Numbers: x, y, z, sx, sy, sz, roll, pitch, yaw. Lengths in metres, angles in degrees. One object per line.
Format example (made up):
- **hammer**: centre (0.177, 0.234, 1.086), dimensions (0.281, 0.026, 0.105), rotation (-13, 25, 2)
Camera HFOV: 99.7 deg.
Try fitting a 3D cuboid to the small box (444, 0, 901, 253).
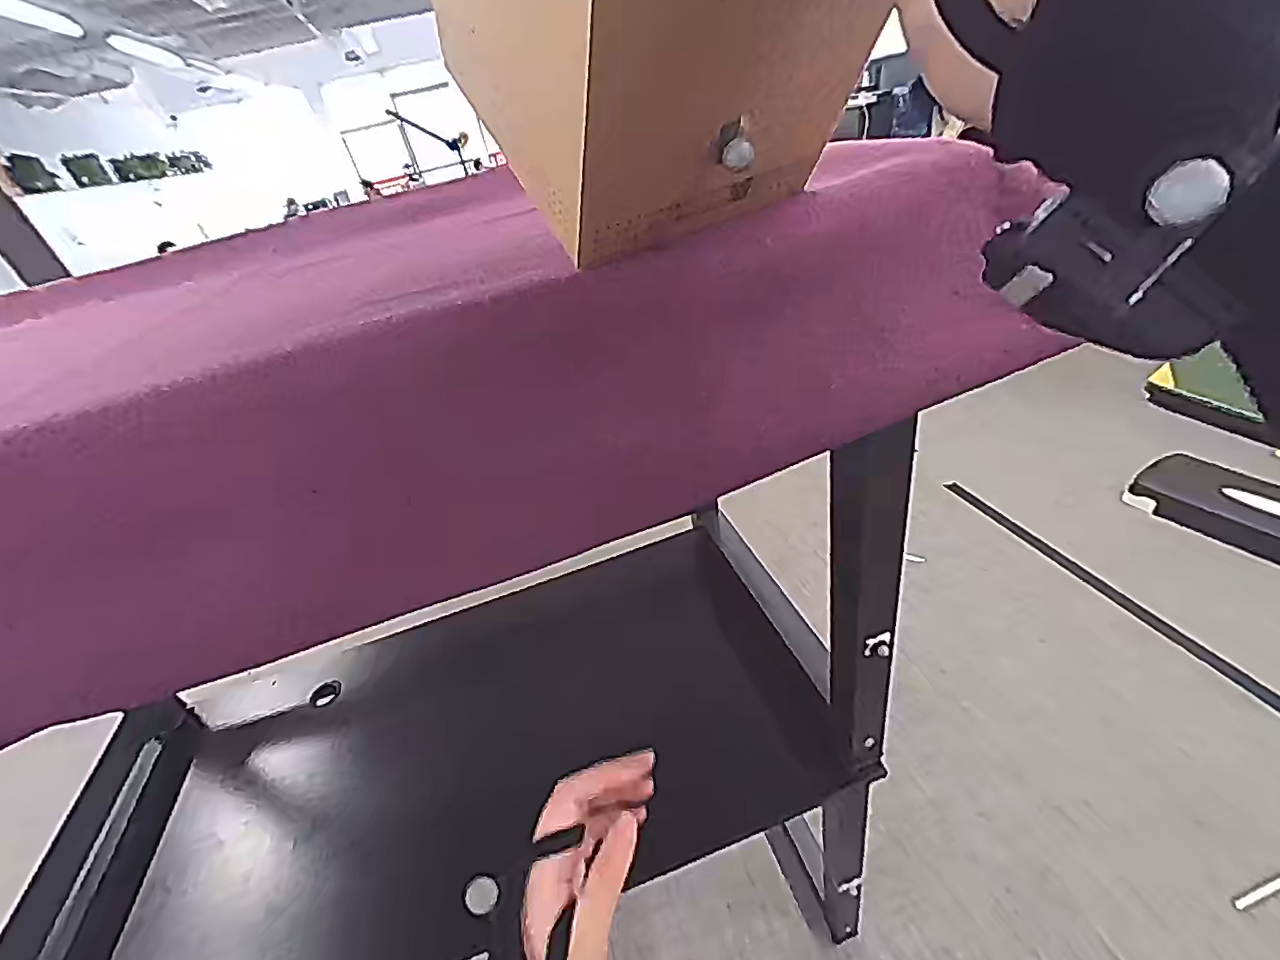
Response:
- **small box**: centre (0.006, -0.250, 0.260), dimensions (0.168, 0.176, 0.179), rotation (-27, 77, -18)
